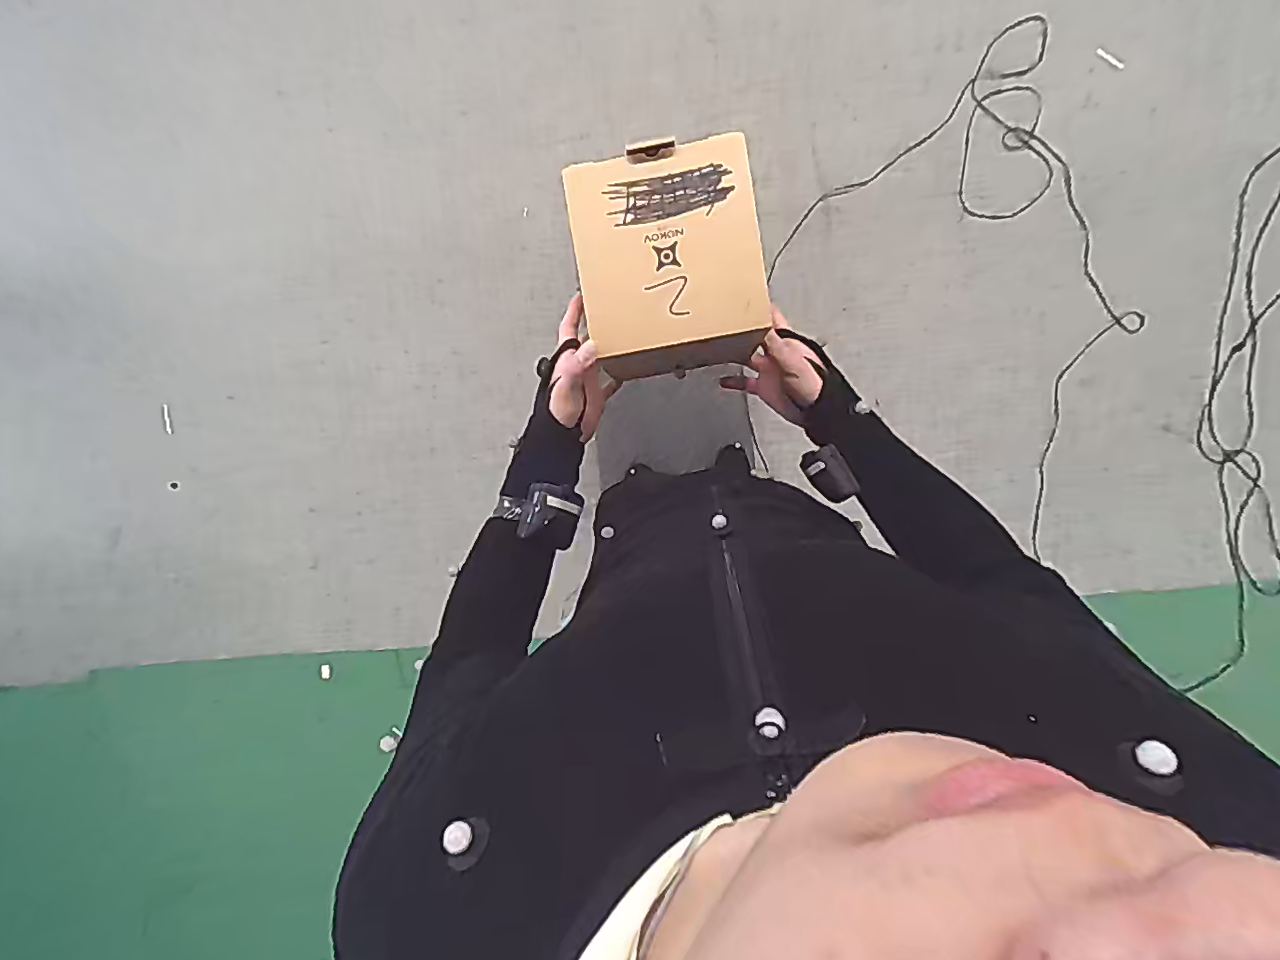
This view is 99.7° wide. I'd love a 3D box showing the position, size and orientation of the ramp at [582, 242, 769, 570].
[{"bbox_3d":[0.097,-0.239,1.692,0.509,0.206,0.991,-8,95,5],"label":"ramp"}]
